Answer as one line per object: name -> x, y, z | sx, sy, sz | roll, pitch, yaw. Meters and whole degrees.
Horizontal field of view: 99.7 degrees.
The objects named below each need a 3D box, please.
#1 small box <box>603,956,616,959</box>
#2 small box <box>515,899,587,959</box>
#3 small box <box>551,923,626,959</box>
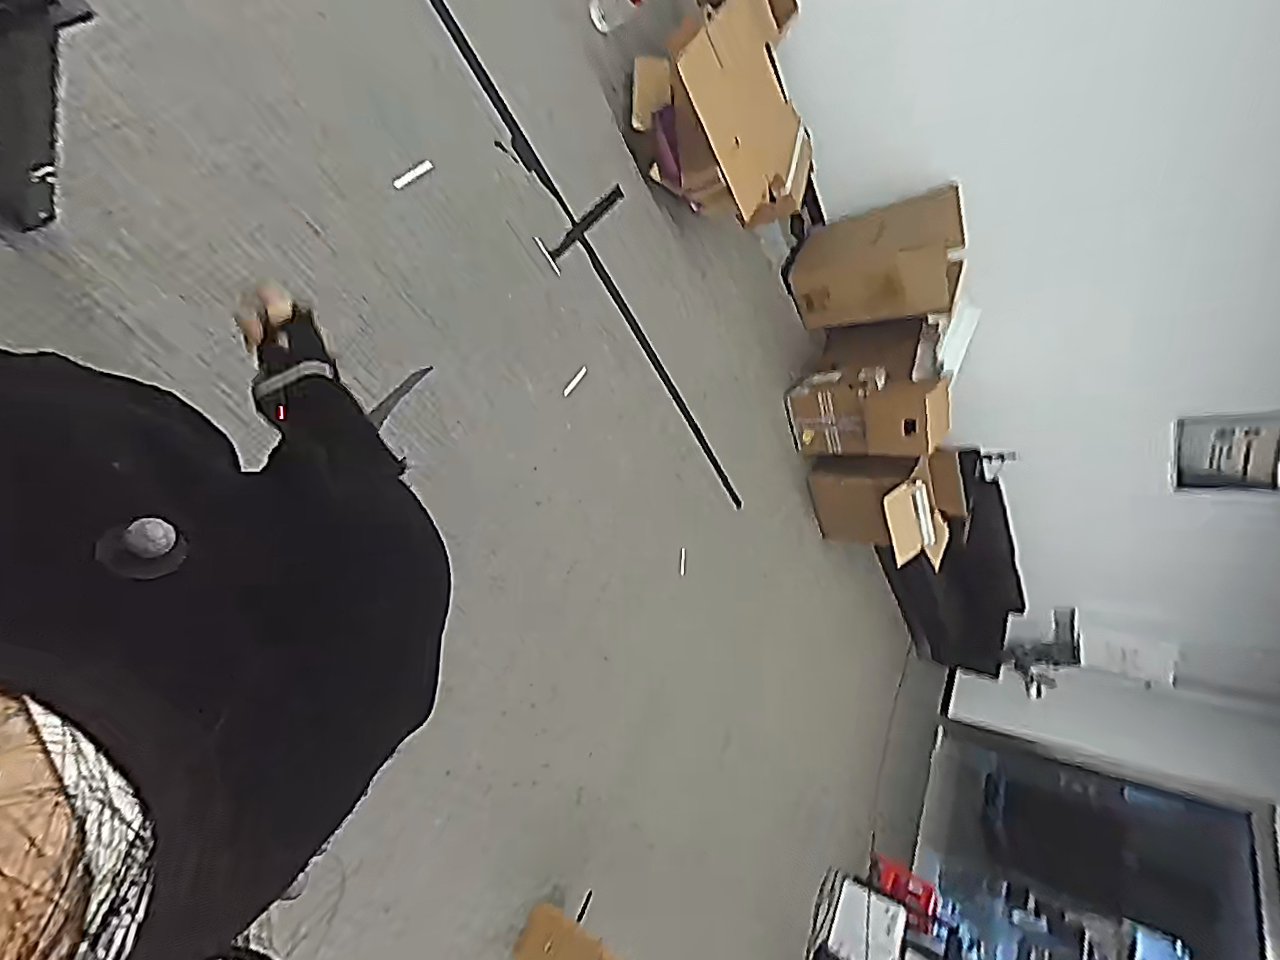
small box -> -0.061, 1.617, 1.663 | 0.179, 0.176, 0.168 | 55, 52, -32
small box -> -0.308, 1.614, 1.879 | 0.168, 0.176, 0.179 | 54, 52, -34
small box -> -0.182, 1.607, 1.773 | 0.168, 0.176, 0.179 | 56, 51, -32
